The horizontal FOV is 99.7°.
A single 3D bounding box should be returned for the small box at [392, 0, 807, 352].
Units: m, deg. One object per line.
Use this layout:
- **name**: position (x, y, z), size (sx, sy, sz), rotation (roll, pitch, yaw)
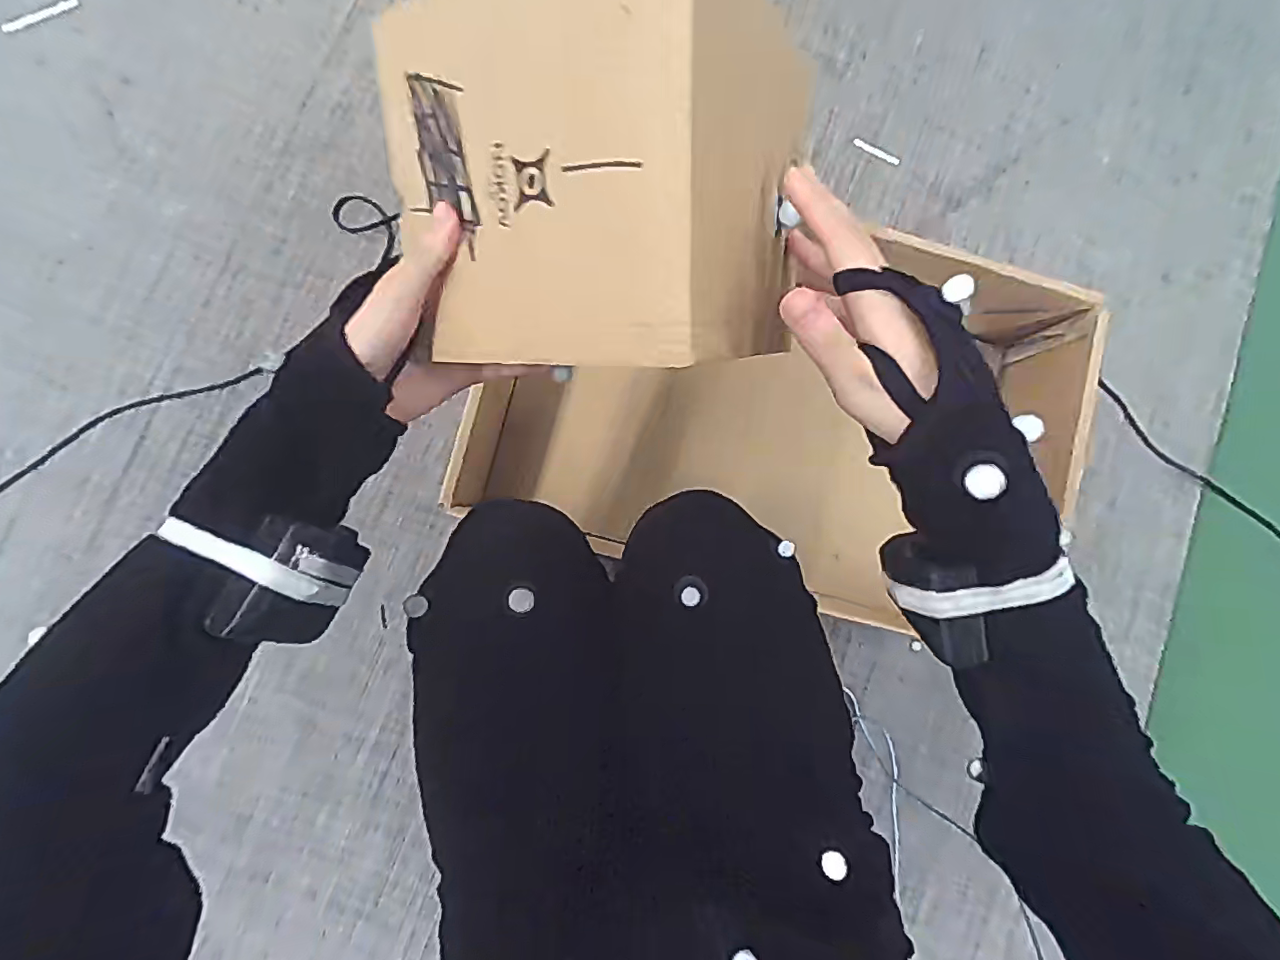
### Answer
- **small box**: position (-0.011, -0.163, 0.319), size (0.179, 0.176, 0.168), rotation (8, 106, 25)
